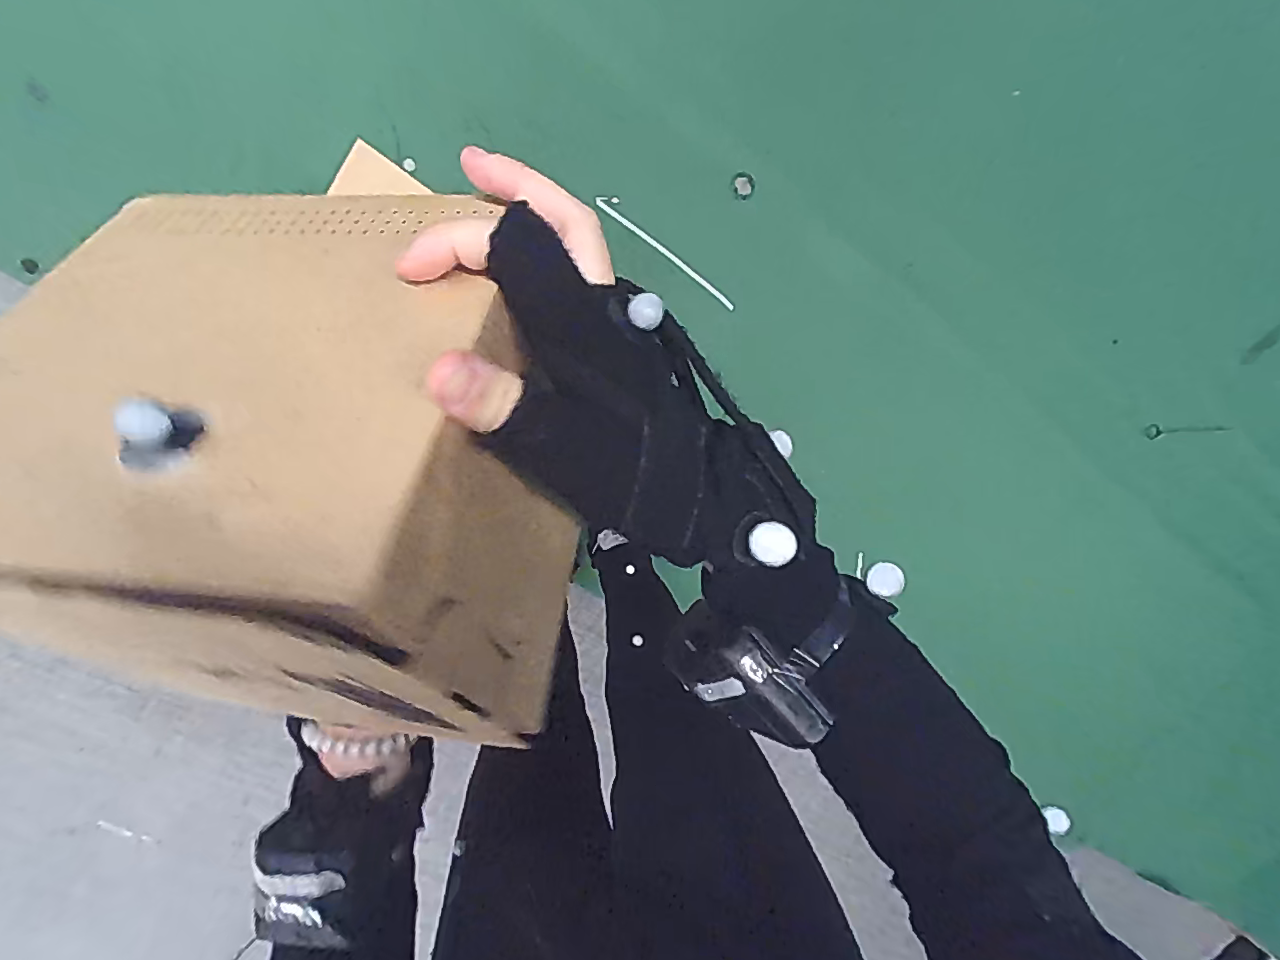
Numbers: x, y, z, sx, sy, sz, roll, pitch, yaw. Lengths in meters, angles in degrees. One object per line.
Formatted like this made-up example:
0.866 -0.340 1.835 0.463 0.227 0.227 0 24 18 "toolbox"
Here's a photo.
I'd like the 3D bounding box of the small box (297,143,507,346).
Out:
-0.301 -0.297 0.725 0.179 0.176 0.168 34 99 -15 "small box"
